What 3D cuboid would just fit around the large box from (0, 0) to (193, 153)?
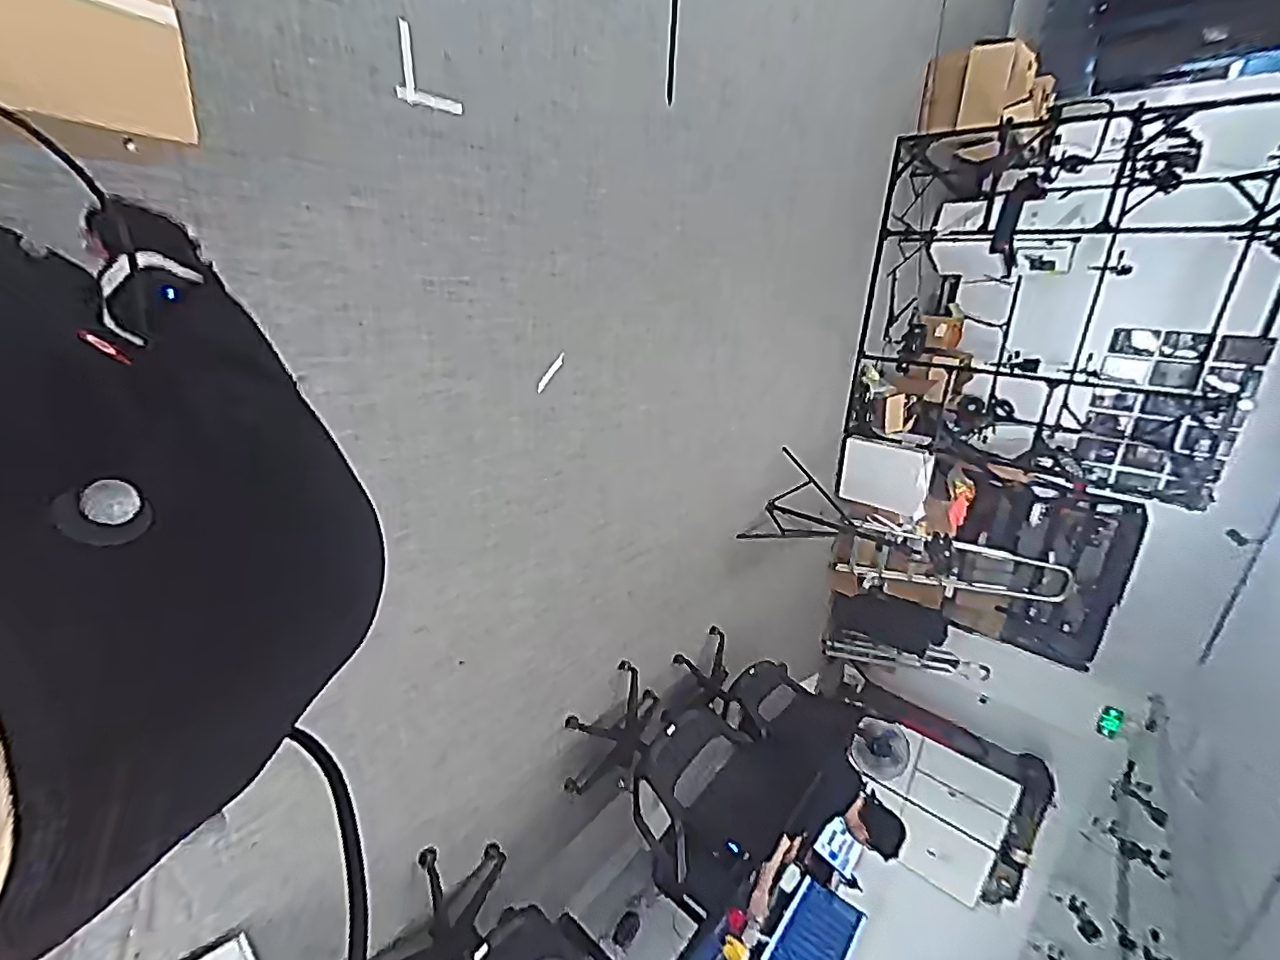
[{"bbox_3d":[-0.898,-0.643,0.698,0.408,0.320,0.320,-20,120,-48],"label":"large box"}]
